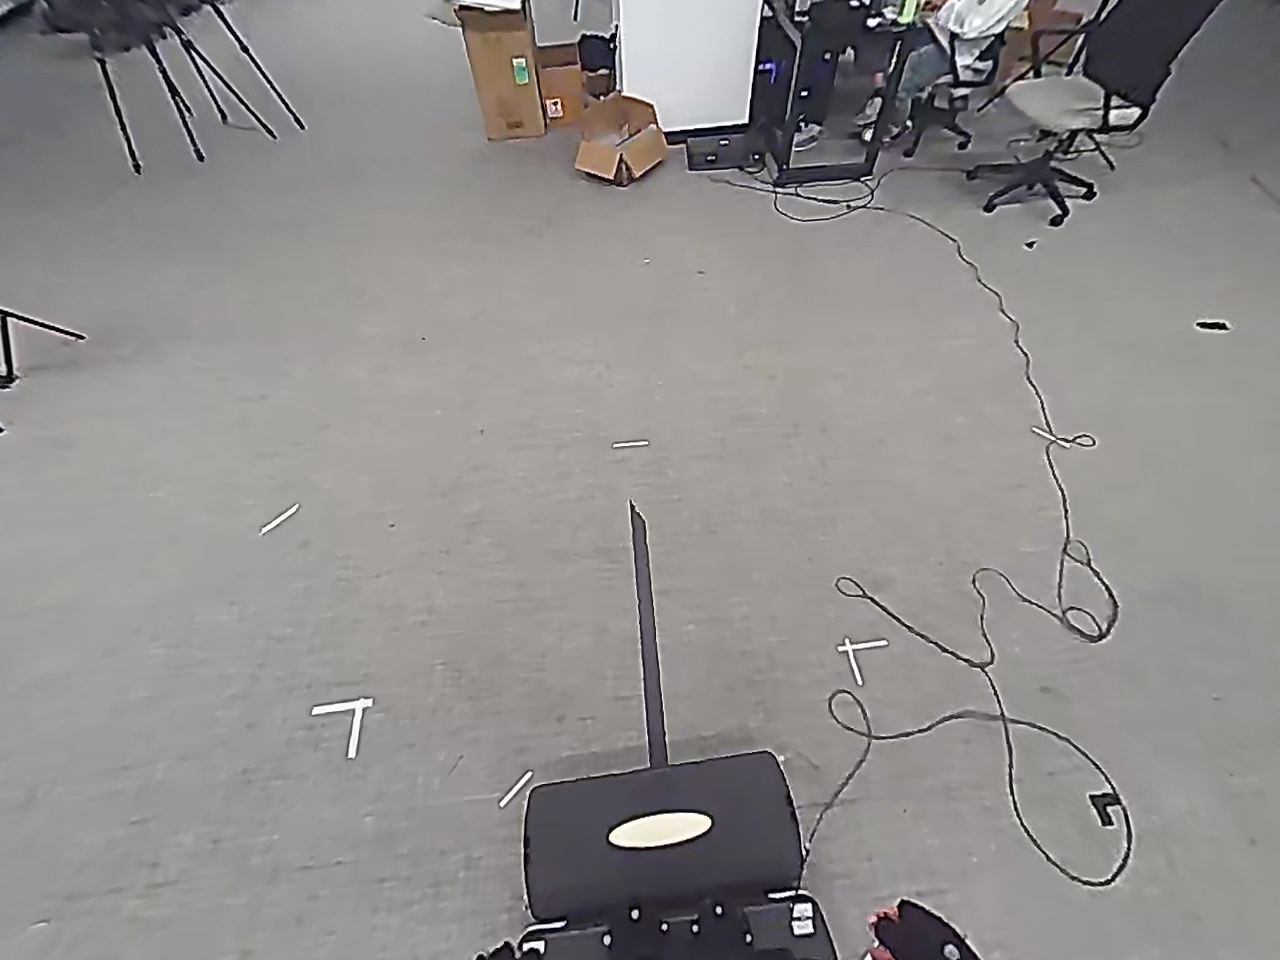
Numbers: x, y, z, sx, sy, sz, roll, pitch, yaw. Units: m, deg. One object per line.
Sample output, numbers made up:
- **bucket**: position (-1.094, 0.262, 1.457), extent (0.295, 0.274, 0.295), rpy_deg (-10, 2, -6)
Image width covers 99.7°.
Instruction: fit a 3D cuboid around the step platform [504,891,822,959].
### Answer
- **step platform**: position (0.050, 1.085, 1.134), extent (0.684, 0.204, 0.286), rpy_deg (-8, 54, -1)
